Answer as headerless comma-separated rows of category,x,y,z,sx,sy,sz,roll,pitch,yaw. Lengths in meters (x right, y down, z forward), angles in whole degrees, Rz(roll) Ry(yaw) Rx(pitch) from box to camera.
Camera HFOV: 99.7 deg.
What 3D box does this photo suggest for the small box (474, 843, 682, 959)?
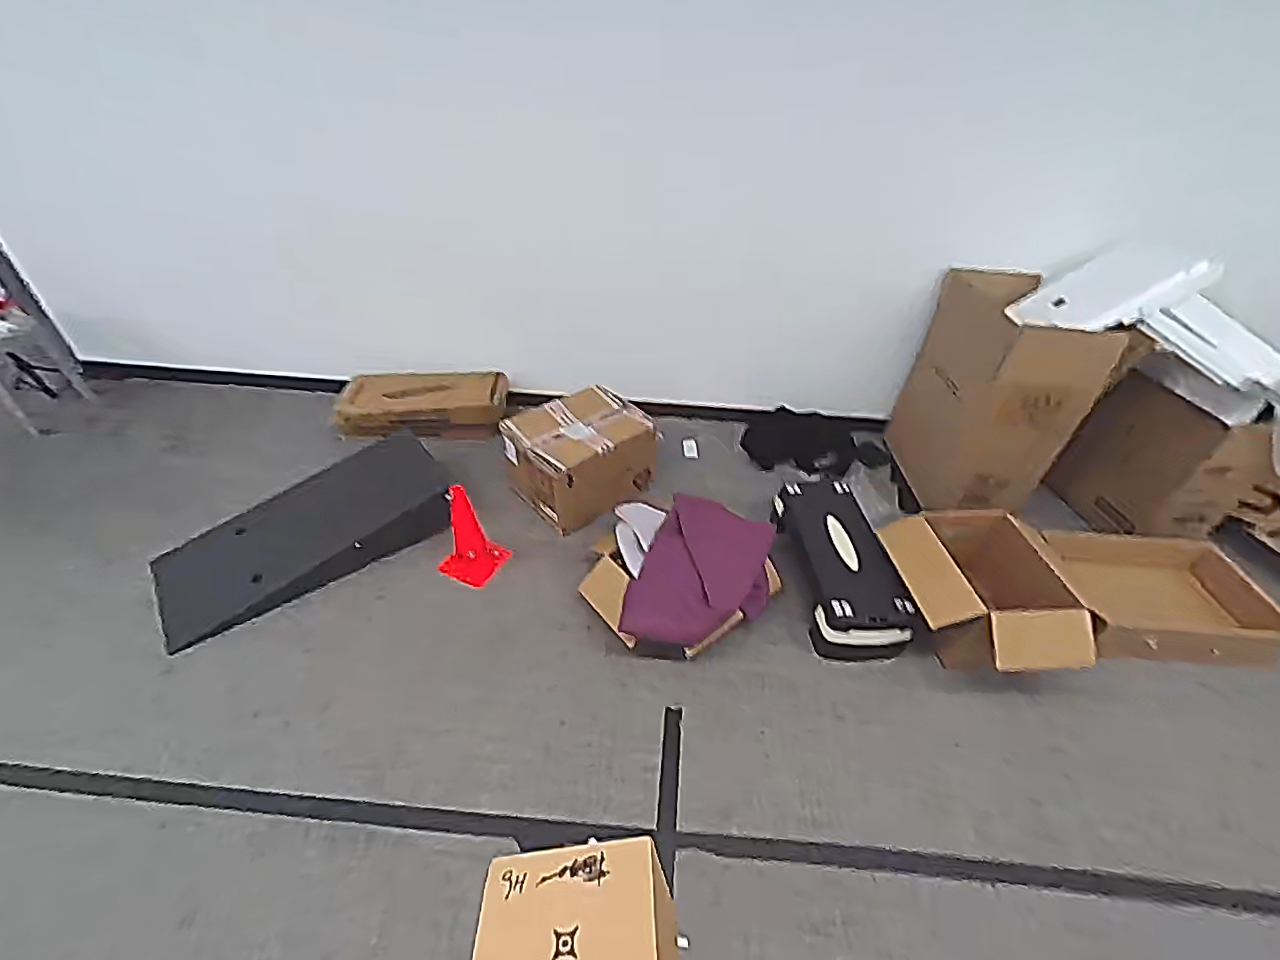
small box,-0.048,0.472,0.491,0.168,0.176,0.179,-10,32,3
